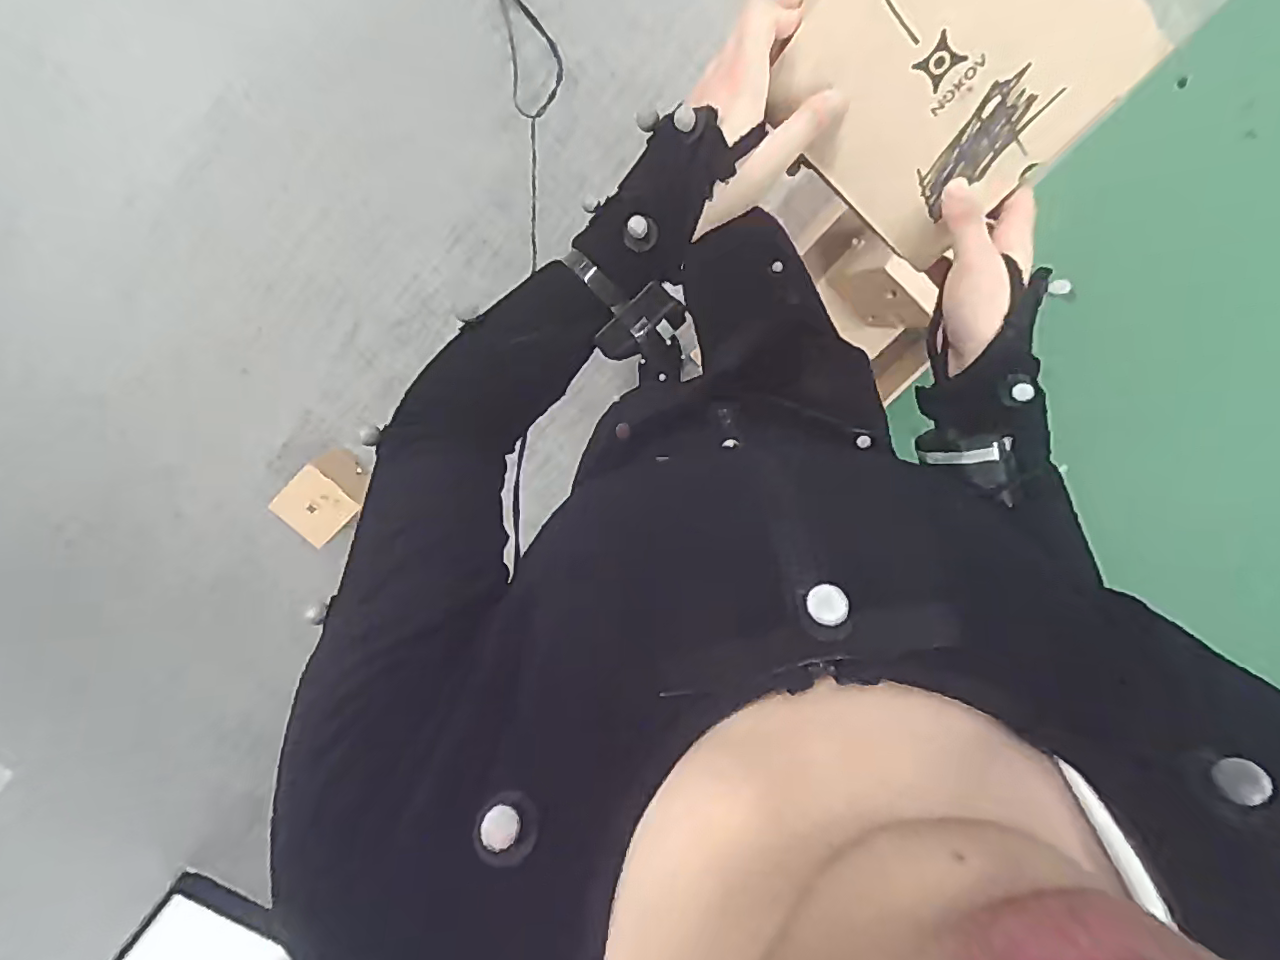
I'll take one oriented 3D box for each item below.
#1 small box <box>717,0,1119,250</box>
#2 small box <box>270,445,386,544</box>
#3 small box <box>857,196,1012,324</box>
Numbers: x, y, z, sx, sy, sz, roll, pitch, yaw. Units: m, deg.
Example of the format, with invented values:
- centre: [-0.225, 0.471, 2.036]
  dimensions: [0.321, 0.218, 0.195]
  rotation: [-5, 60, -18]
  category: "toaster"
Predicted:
- centre: [0.176, -0.314, 0.395]
  dimensions: [0.179, 0.176, 0.168]
  rotation: [29, 127, -23]
  category: "small box"
- centre: [-0.819, 0.033, 1.441]
  dimensions: [0.179, 0.176, 0.168]
  rotation: [-41, 104, 11]
  category: "small box"
- centre: [0.567, -0.427, 1.070]
  dimensions: [0.179, 0.176, 0.168]
  rotation: [39, 103, -10]
  category: "small box"
